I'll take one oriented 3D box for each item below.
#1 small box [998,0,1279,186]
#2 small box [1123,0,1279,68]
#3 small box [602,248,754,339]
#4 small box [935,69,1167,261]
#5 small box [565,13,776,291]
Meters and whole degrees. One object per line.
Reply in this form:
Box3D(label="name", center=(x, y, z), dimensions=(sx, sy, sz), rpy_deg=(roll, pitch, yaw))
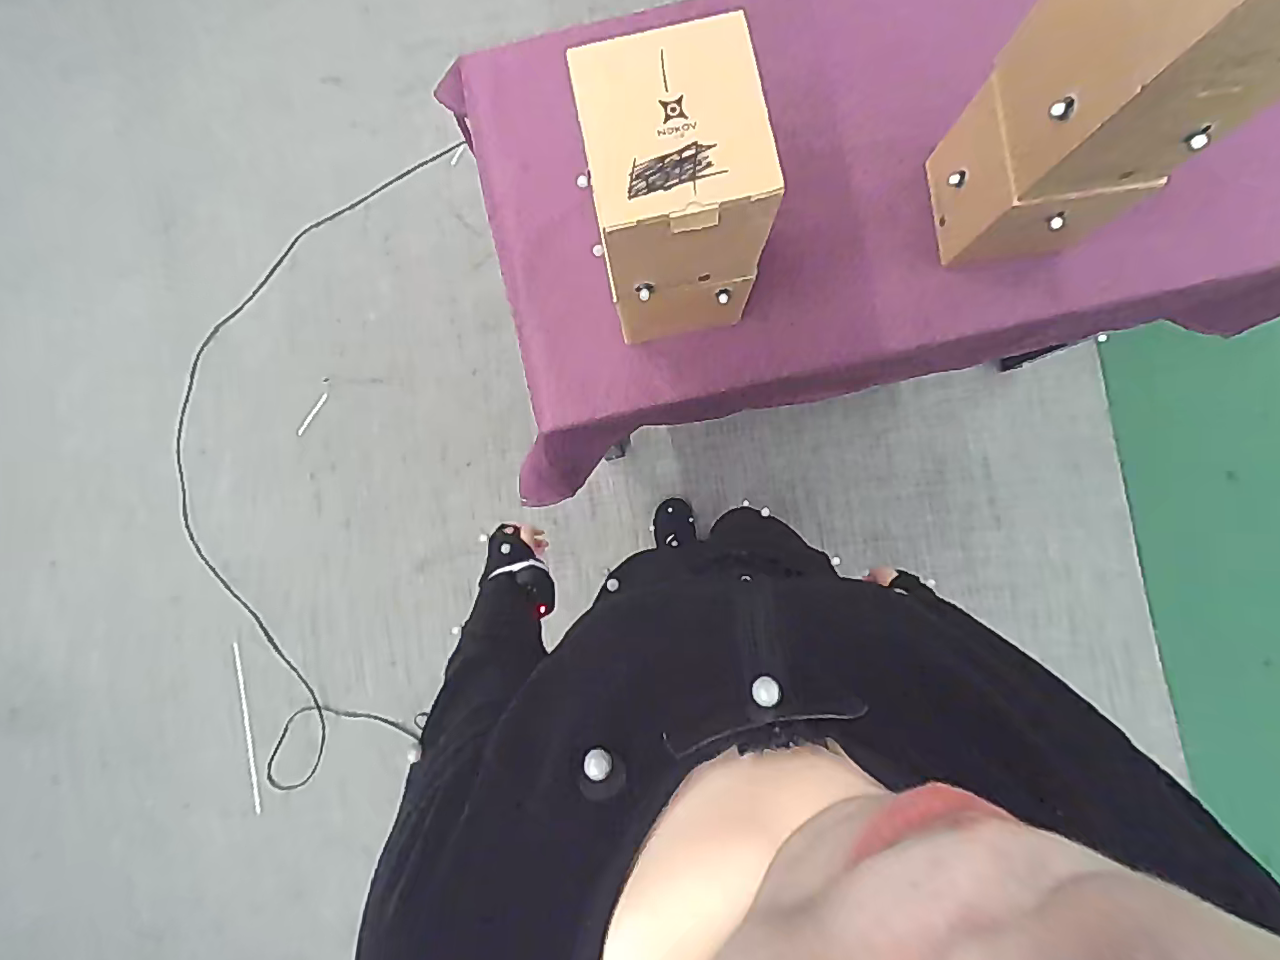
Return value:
Box3D(label="small box", center=(0.497, -0.421, 0.540), dimensions=(0.168, 0.176, 0.179), rpy_deg=(-7, 86, 3))
Box3D(label="small box", center=(0.484, -0.430, 0.376), dimensions=(0.168, 0.176, 0.179), rpy_deg=(-8, 87, 2))
Box3D(label="small box", center=(0.043, -0.304, 0.728), dimensions=(0.179, 0.176, 0.168), rpy_deg=(-11, 86, 2))
Box3D(label="small box", center=(0.509, -0.404, 0.702), dimensions=(0.179, 0.176, 0.168), rpy_deg=(-7, 87, 3))
Box3D(label="small box", center=(0.031, -0.316, 0.564), dimensions=(0.168, 0.176, 0.179), rpy_deg=(-11, 85, 2))
